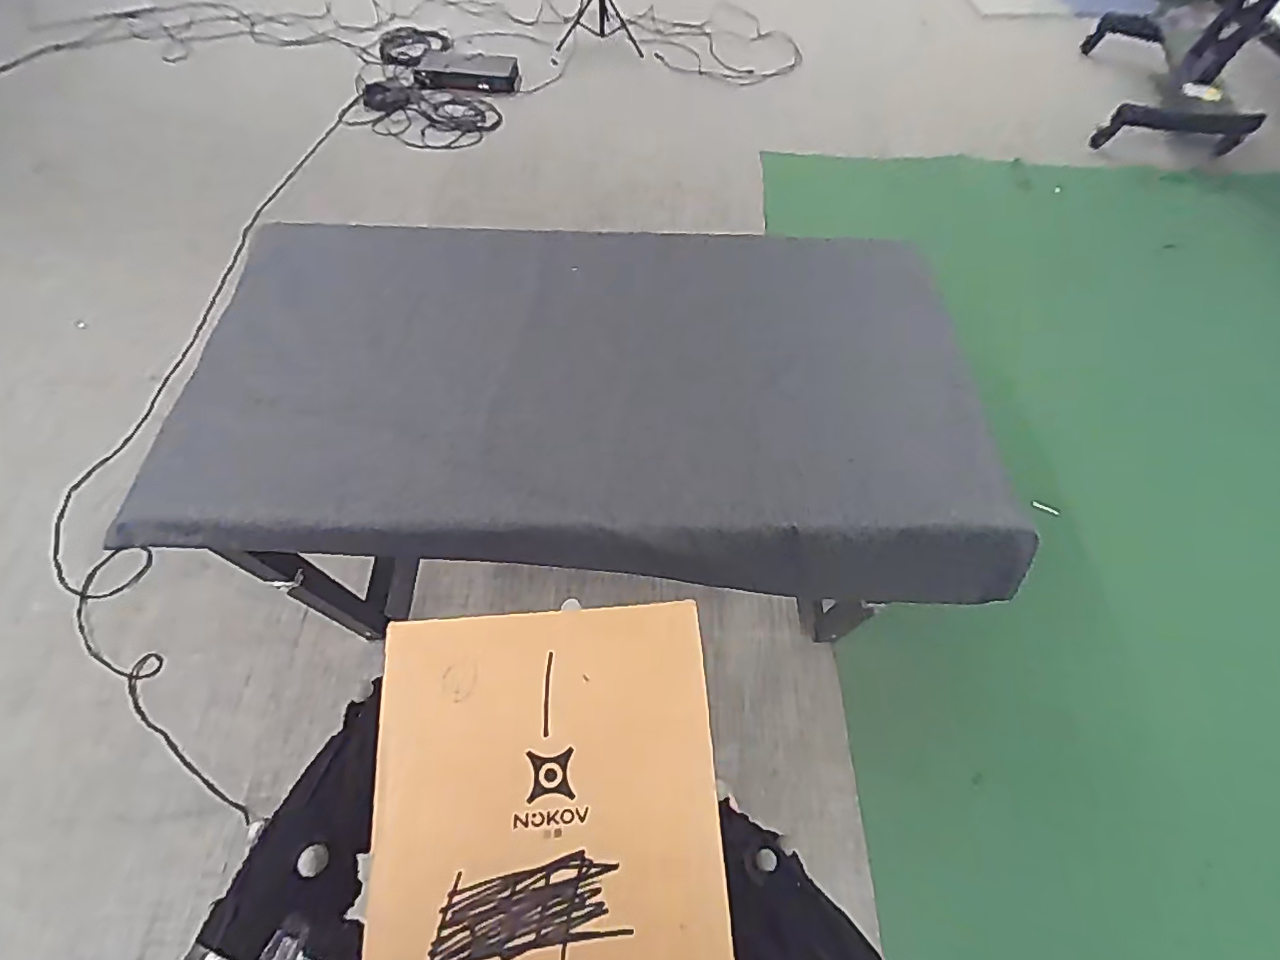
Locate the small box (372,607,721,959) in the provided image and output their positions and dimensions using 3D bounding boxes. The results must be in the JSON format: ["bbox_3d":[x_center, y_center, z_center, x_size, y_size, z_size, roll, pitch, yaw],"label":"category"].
[{"bbox_3d":[-0.048,0.180,0.349,0.168,0.176,0.179,-2,71,-4],"label":"small box"}]
